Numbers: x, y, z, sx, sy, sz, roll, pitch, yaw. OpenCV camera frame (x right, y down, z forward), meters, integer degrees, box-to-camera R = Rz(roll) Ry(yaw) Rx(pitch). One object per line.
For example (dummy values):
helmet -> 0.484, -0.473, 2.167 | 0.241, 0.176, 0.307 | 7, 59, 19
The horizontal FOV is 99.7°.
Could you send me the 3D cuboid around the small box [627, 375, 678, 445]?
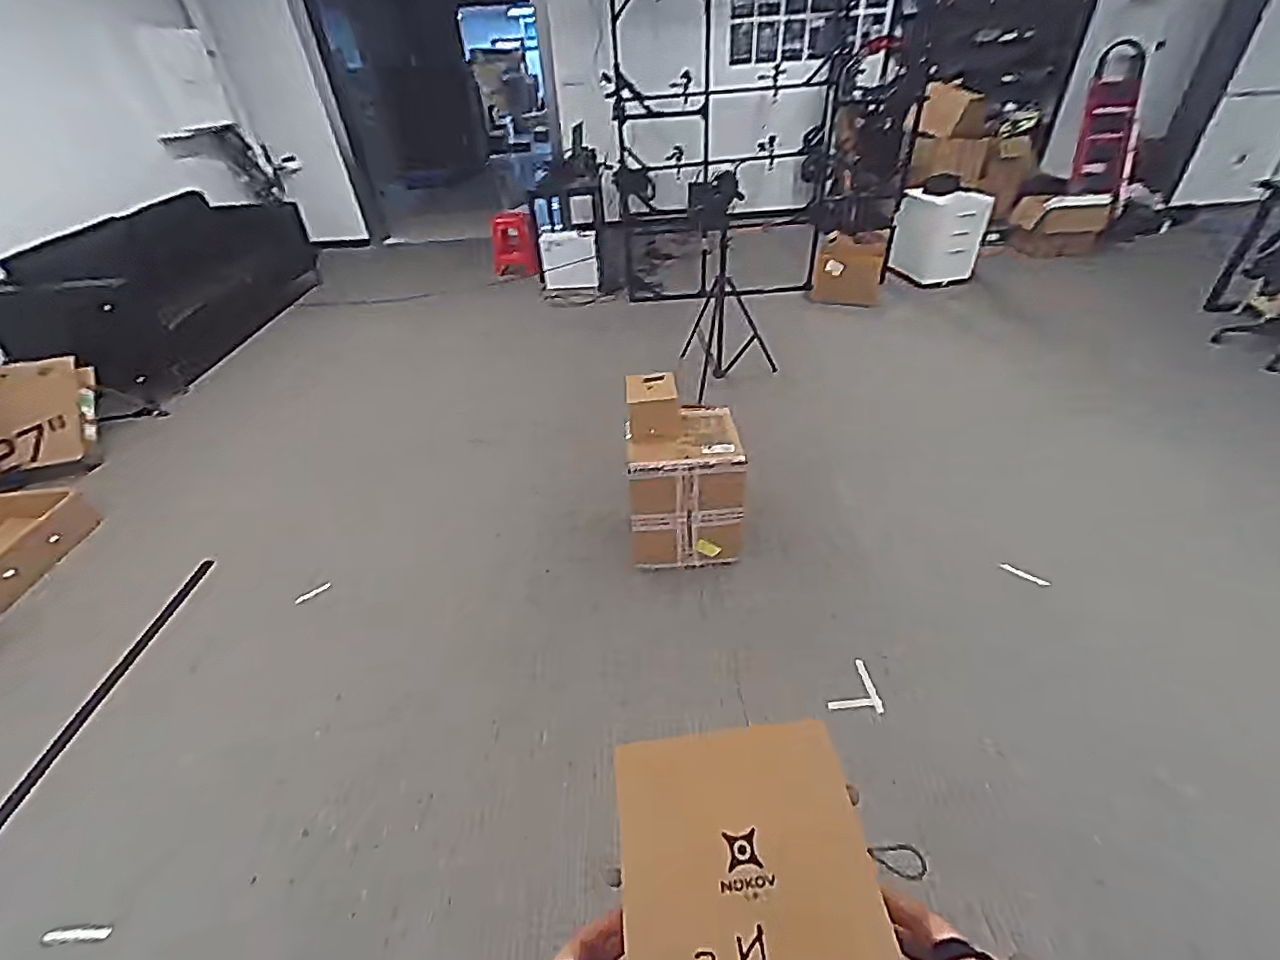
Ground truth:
small box -> 0.042, -0.241, 1.869 | 0.168, 0.176, 0.179 | -6, 41, 2
